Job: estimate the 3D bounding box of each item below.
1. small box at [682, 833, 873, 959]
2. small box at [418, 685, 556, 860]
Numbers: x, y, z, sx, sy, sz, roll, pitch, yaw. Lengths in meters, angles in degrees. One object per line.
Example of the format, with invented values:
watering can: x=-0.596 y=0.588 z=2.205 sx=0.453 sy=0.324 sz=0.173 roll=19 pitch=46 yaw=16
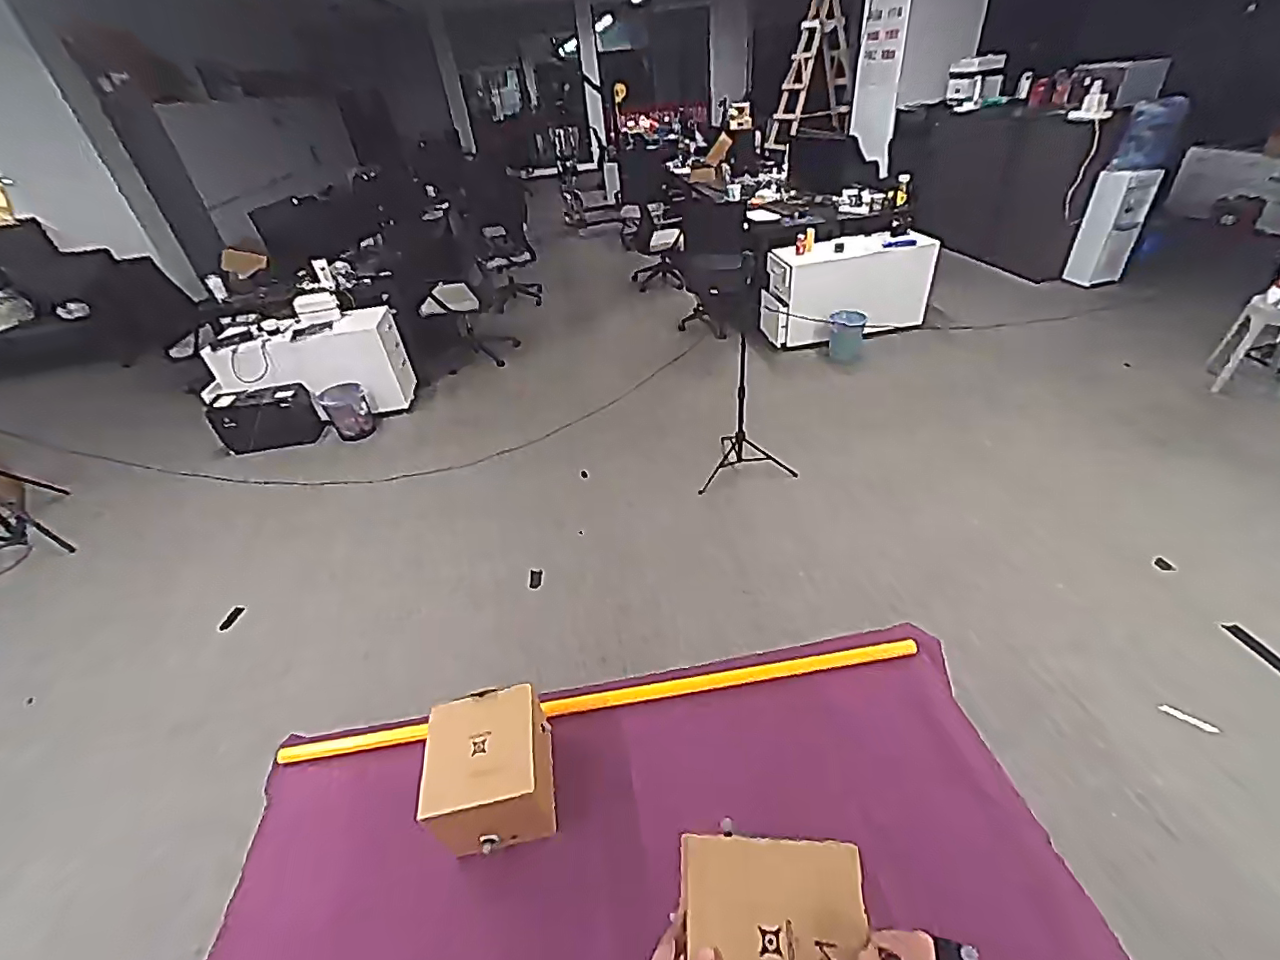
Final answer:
small box: x=0.133 y=0.480 z=0.576 sx=0.179 sy=0.176 sz=0.168 roll=1 pitch=57 yaw=3
small box: x=-0.234 y=0.464 z=0.864 sx=0.168 sy=0.176 sz=0.179 roll=-11 pitch=38 yaw=-5
